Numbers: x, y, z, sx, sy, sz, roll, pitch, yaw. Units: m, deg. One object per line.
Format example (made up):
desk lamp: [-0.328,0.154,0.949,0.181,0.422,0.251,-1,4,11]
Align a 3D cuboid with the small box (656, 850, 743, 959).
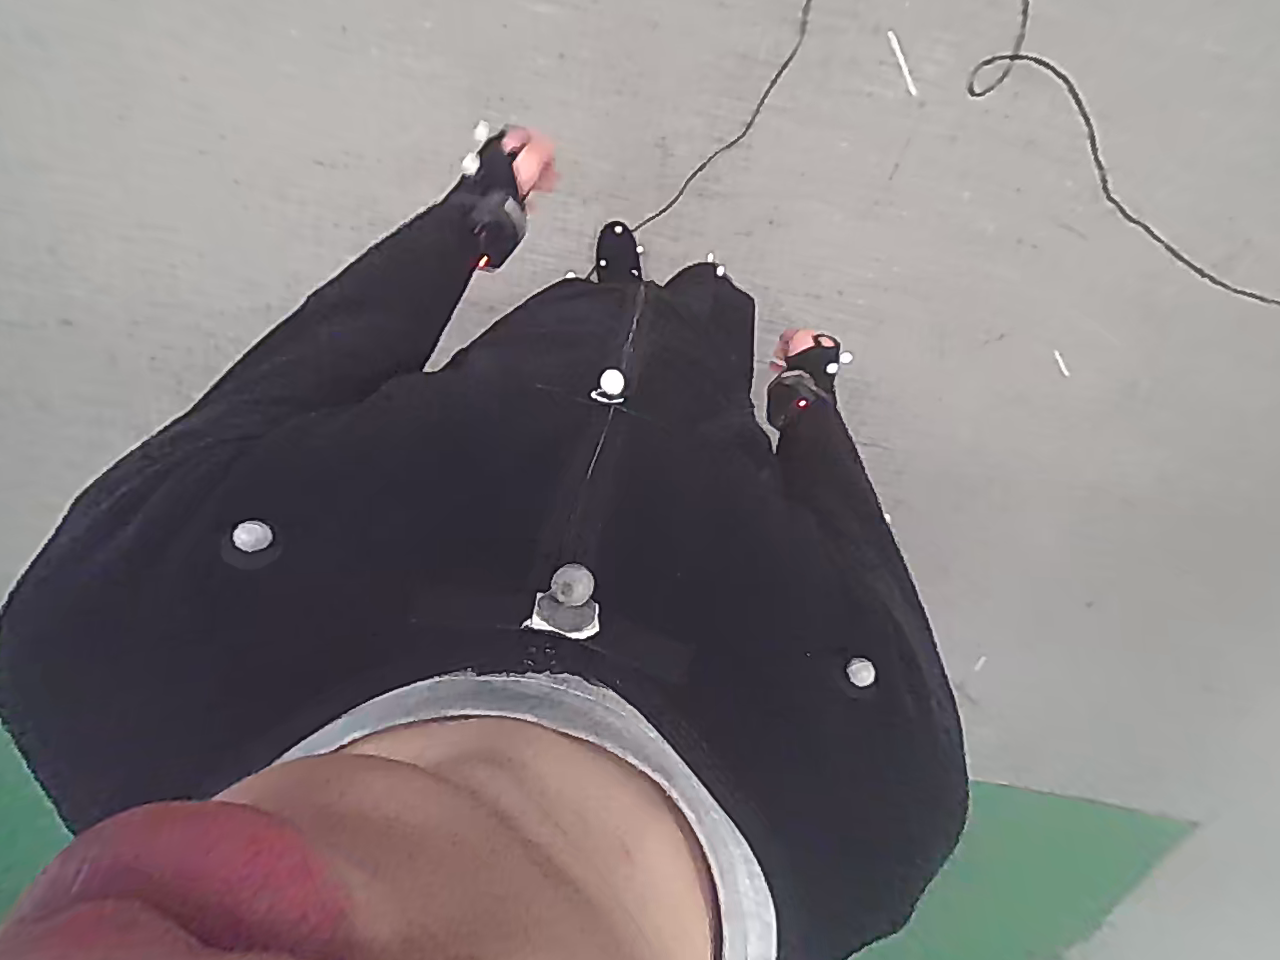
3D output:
small box: [0.130,1.004,1.268,0.168,0.176,0.179,7,115,-4]
